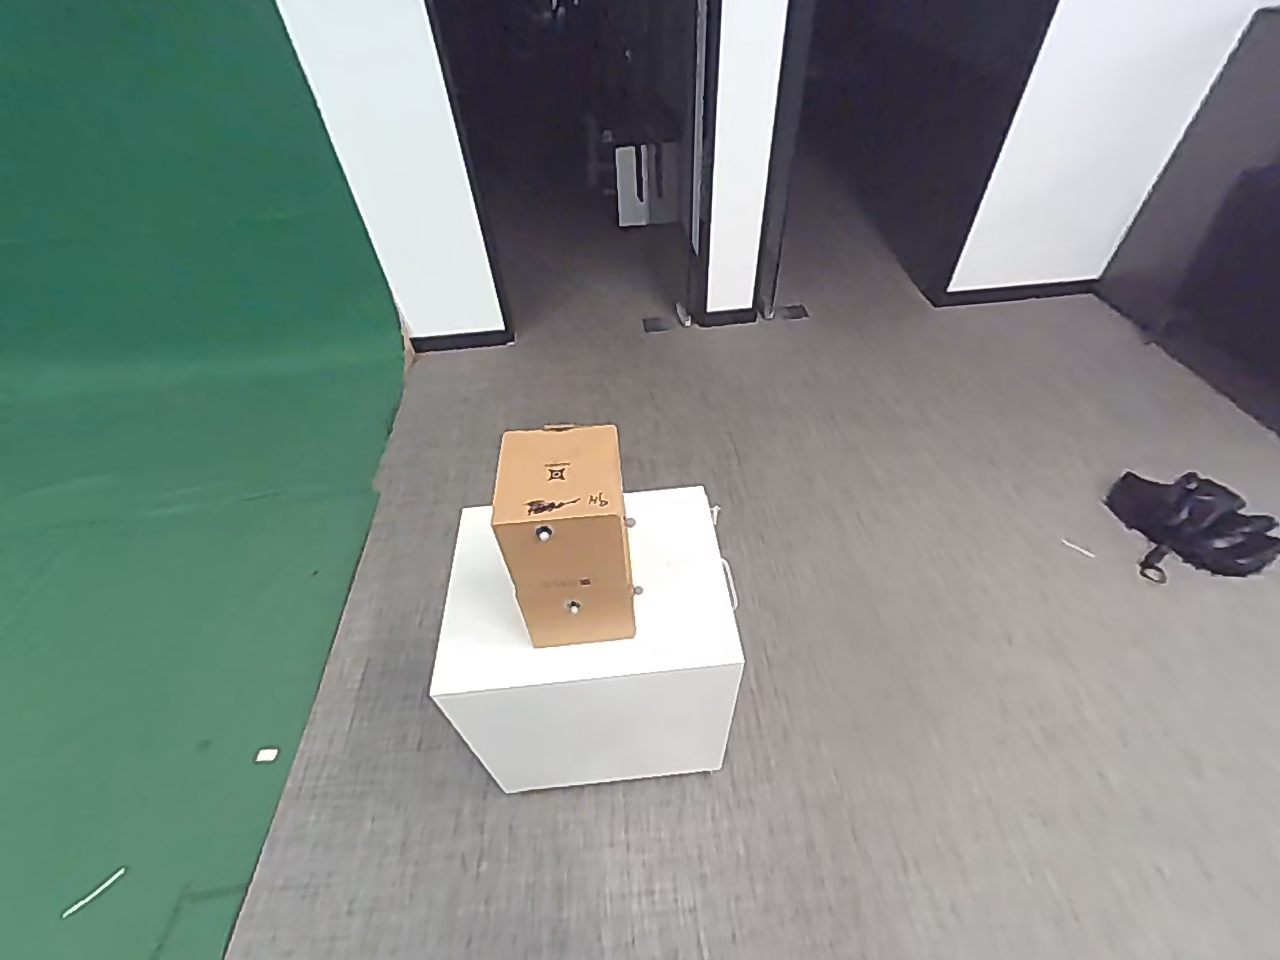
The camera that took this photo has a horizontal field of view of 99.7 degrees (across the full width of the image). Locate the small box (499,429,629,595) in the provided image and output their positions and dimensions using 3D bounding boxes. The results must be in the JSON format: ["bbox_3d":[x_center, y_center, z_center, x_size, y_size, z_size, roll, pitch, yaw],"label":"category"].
[{"bbox_3d":[-0.106,0.047,0.801,0.168,0.176,0.179,-5,47,-4],"label":"small box"}]

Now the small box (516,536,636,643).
[{"bbox_3d":[-0.102,0.161,0.914,0.179,0.176,0.168,-5,46,-3],"label":"small box"}]
